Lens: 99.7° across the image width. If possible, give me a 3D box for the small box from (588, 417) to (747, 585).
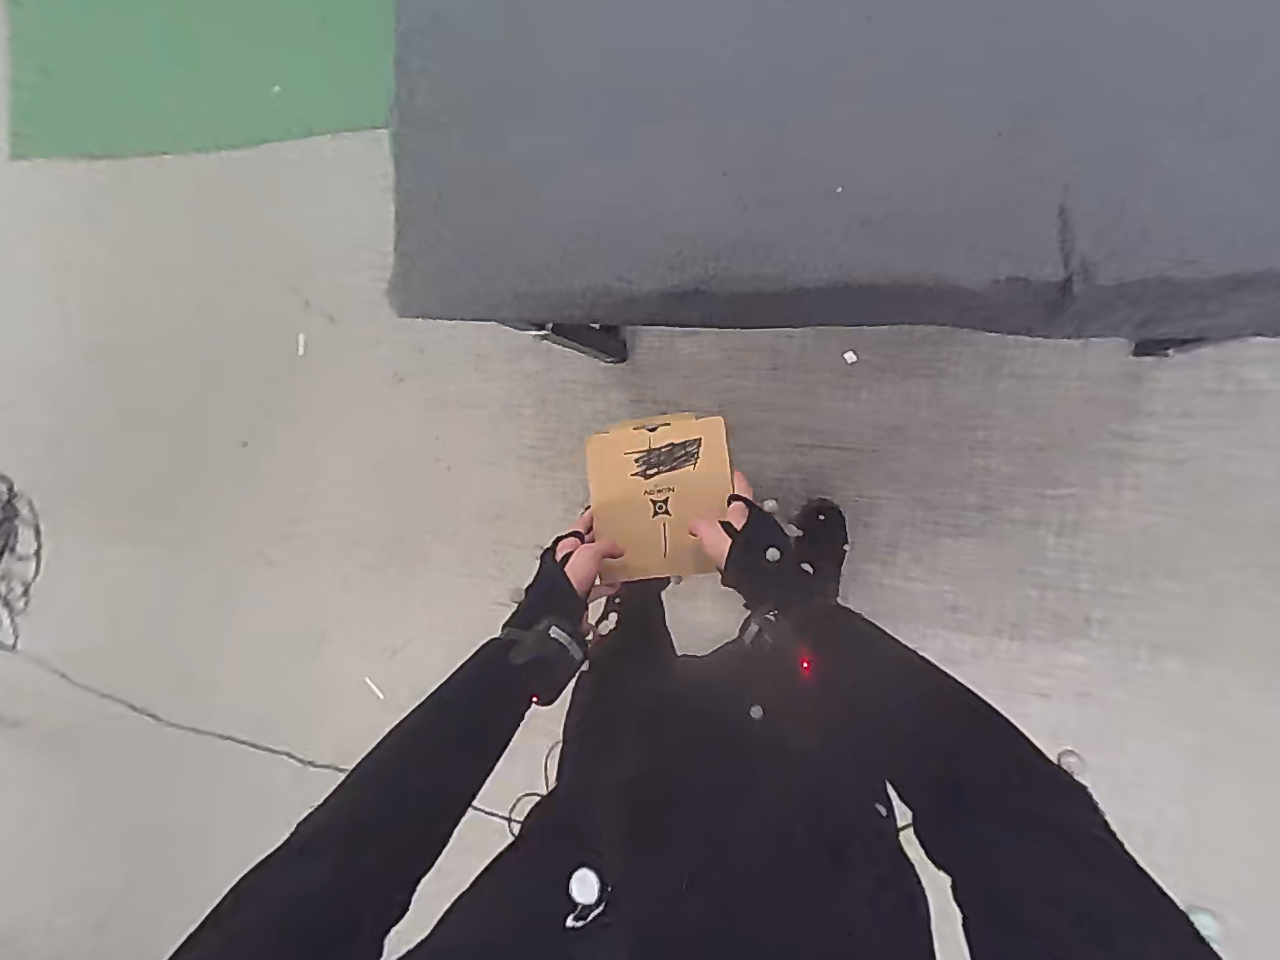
[{"bbox_3d":[0.040,0.033,0.682,0.168,0.176,0.179,-7,83,10],"label":"small box"}]
